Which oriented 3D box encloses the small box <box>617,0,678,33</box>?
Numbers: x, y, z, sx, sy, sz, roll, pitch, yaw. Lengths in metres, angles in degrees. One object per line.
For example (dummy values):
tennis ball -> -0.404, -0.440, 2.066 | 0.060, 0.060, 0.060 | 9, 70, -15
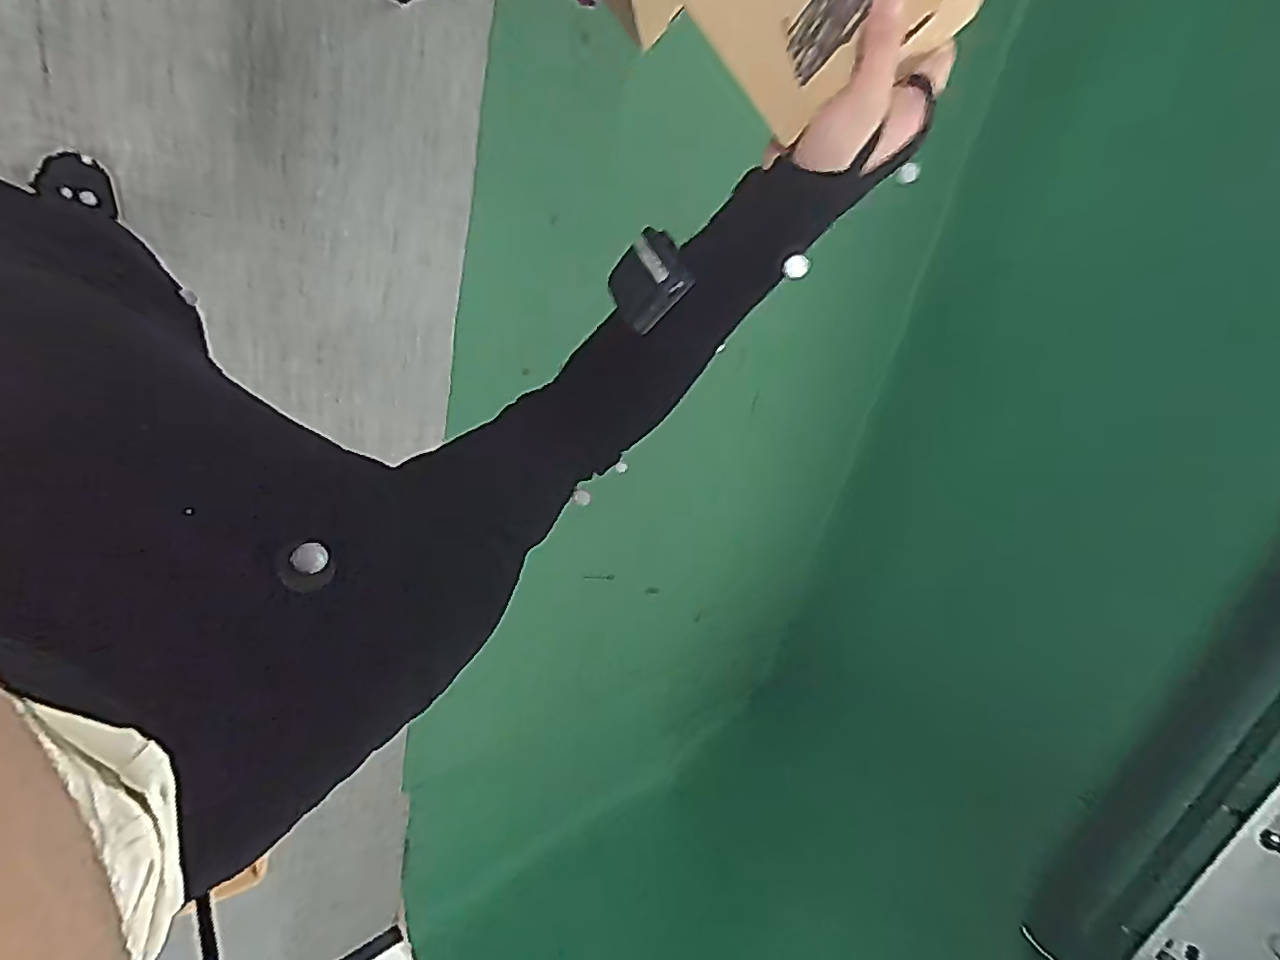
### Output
small box -> 0.003, -0.473, 0.356 | 0.168, 0.176, 0.179 | -39, -174, 15
